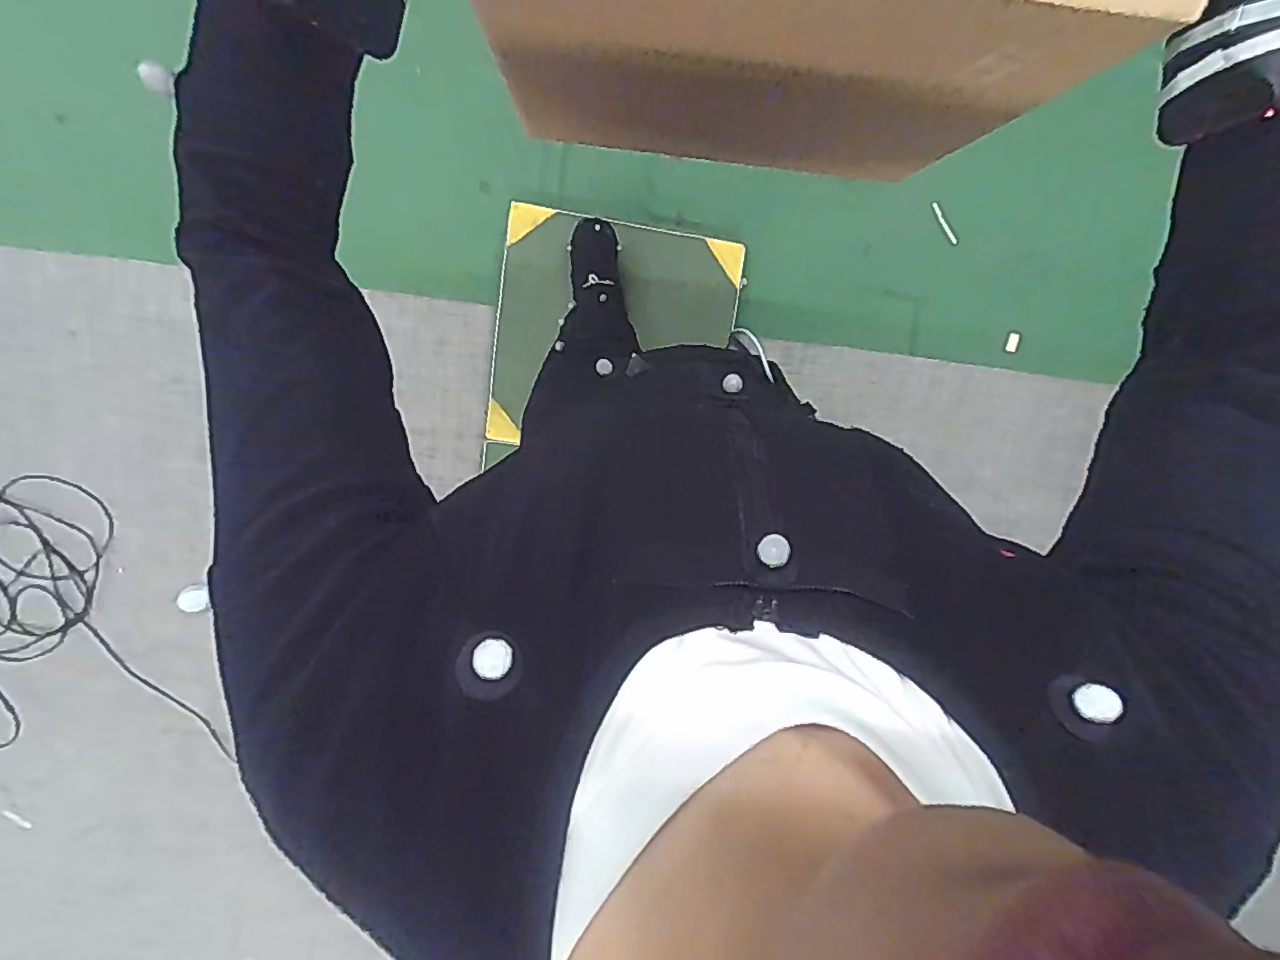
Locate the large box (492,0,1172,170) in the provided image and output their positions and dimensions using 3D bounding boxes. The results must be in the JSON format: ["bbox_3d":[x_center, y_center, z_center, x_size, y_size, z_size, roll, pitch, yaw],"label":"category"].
[{"bbox_3d":[0.103,-0.457,0.395,0.408,0.320,0.320,3,105,-6],"label":"large box"}]
